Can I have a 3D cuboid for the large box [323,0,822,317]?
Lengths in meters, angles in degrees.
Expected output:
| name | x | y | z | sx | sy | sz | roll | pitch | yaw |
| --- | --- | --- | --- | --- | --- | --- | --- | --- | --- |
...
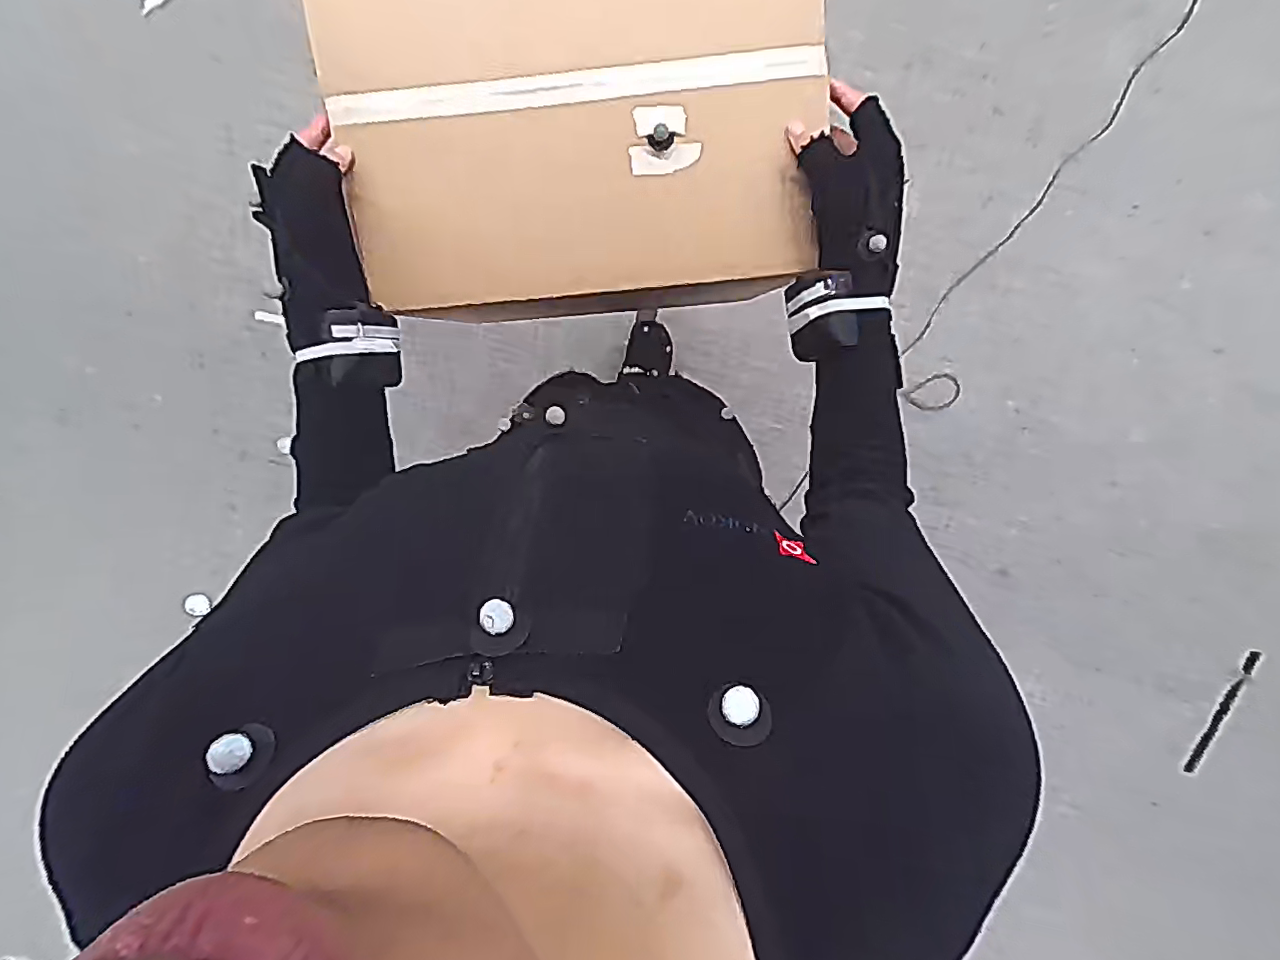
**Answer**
| name | x | y | z | sx | sy | sz | roll | pitch | yaw |
| --- | --- | --- | --- | --- | --- | --- | --- | --- | --- |
| large box | -0.052 | -0.366 | 0.592 | 0.408 | 0.320 | 0.320 | -5 | 104 | 1 |
